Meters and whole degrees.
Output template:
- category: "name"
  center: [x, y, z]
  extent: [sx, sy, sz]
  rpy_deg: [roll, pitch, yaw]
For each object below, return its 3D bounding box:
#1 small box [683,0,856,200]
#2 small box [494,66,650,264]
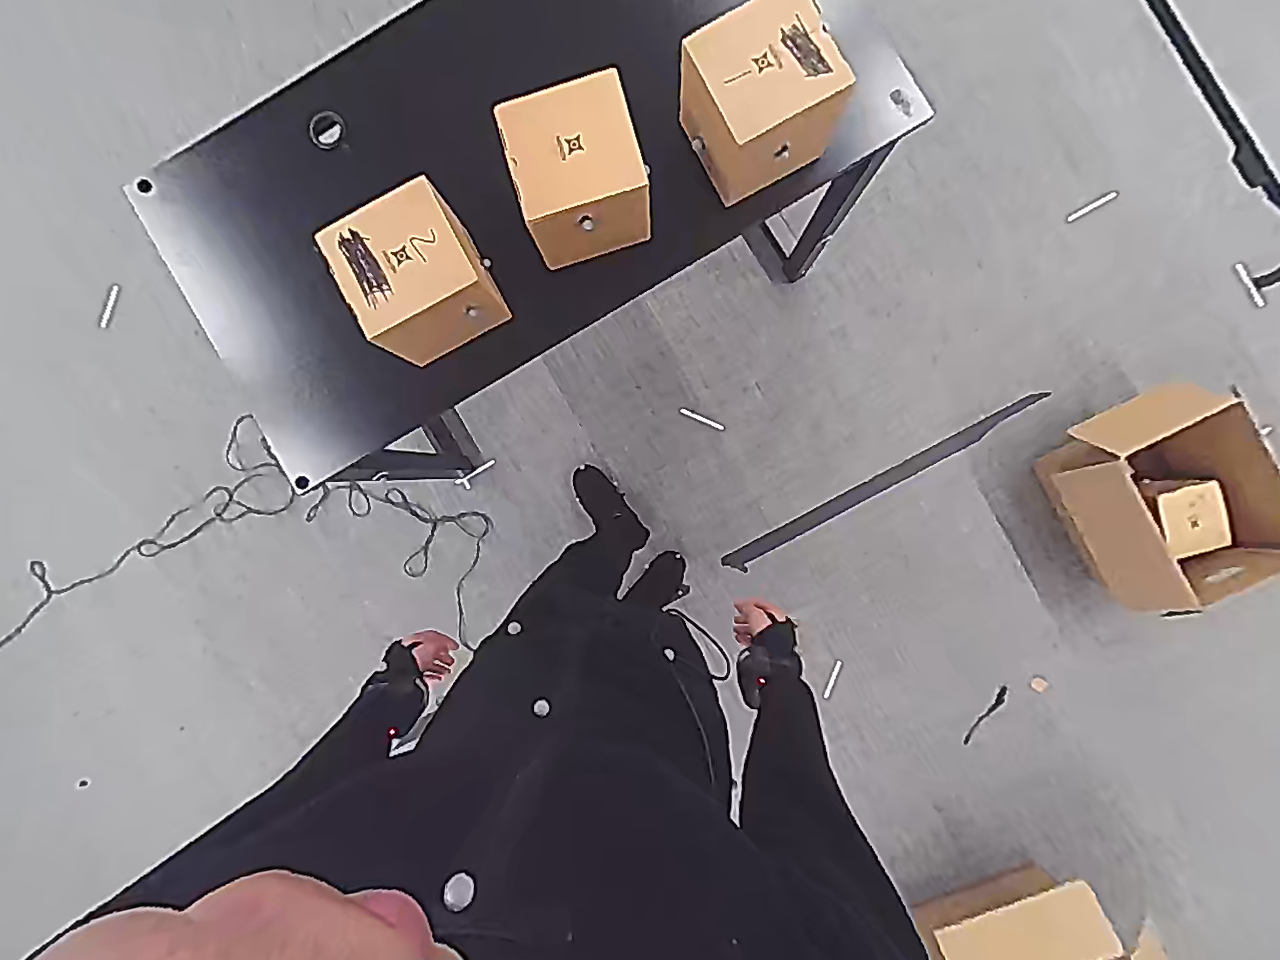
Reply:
- category: "small box"
  center: [0.171, -0.551, 0.780]
  extent: [0.179, 0.176, 0.168]
  rpy_deg: [-28, 89, 4]
- category: "small box"
  center: [-0.089, -0.447, 0.796]
  extent: [0.179, 0.176, 0.168]
  rpy_deg: [-17, 89, 3]
